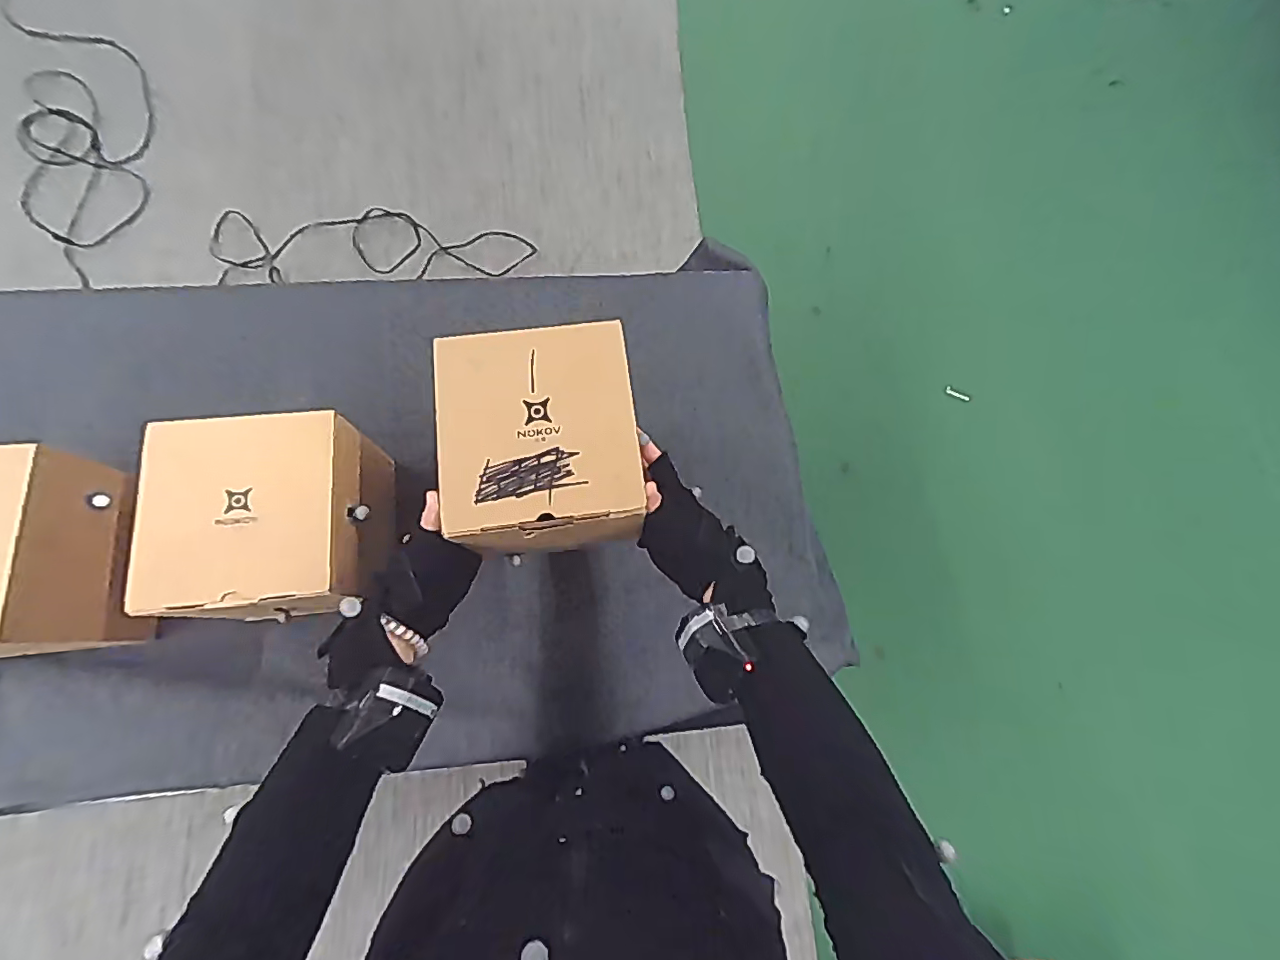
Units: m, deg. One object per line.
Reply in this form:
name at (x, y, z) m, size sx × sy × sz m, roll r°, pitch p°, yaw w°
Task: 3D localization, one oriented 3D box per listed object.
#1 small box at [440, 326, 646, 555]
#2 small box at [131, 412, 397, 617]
small box at (-0.086, -0.025, 0.530) m, size 0.168 × 0.176 × 0.179 m, roll -6°, pitch 75°, yaw -5°
small box at (-0.364, 0.044, 0.561) m, size 0.168 × 0.176 × 0.179 m, roll -5°, pitch 76°, yaw -7°
